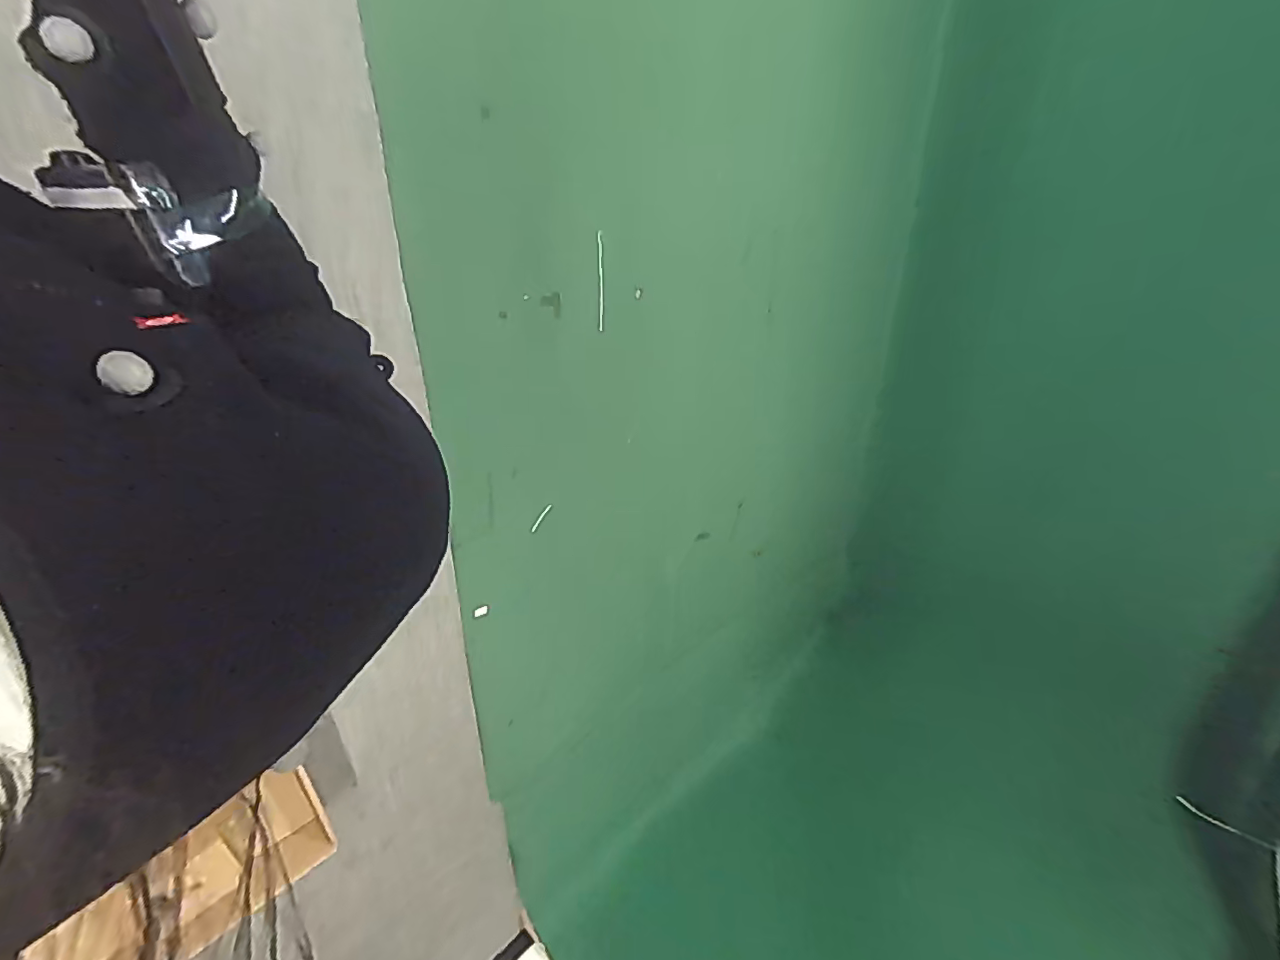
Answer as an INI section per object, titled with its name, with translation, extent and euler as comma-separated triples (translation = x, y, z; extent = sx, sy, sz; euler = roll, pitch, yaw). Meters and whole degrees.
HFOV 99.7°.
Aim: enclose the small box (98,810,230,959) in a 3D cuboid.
[small box]
translation = -1.079, 0.907, 1.224
extent = 0.179, 0.176, 0.168
euler = -29, 127, -39
